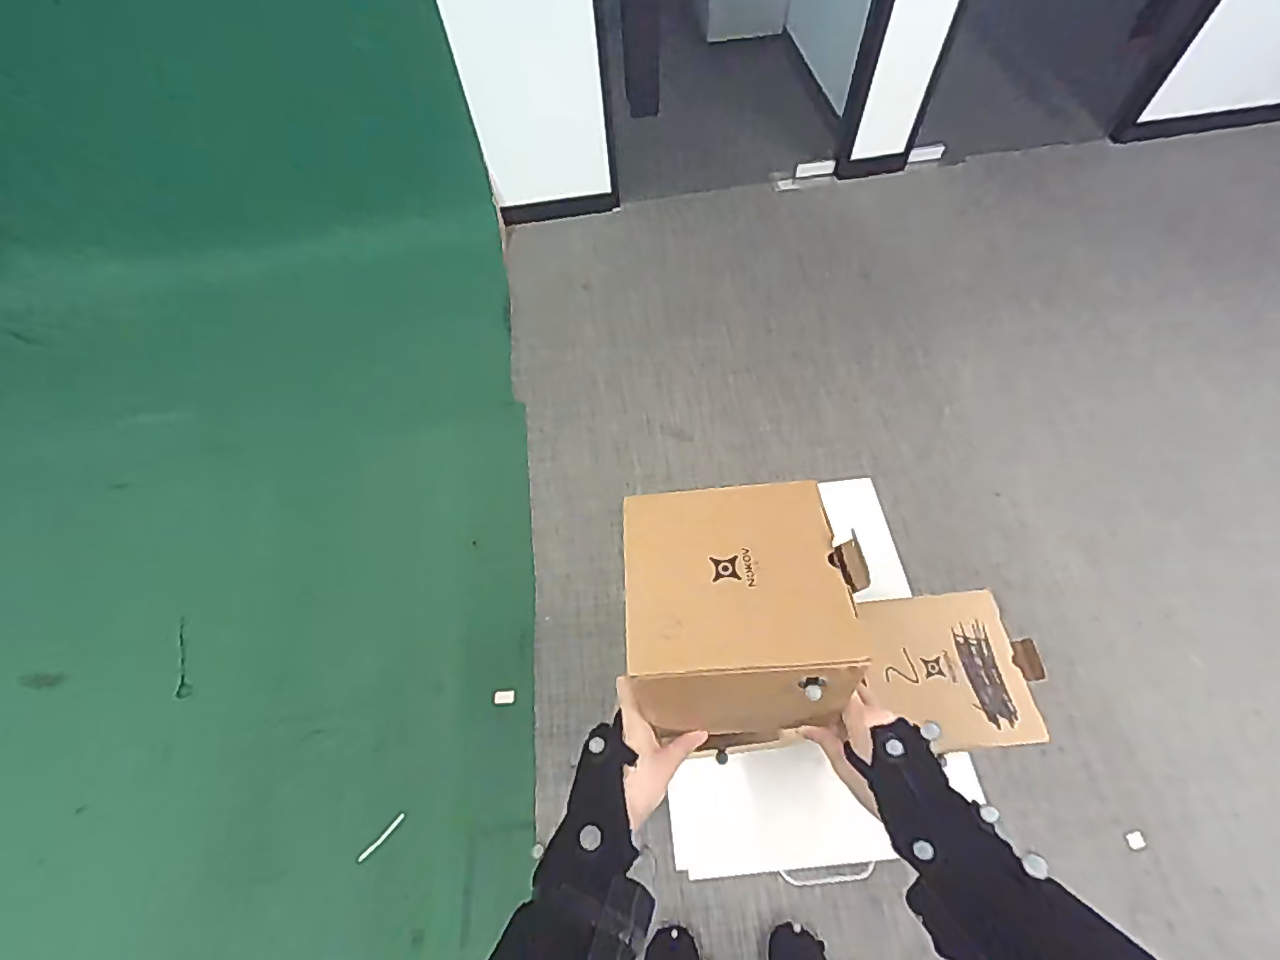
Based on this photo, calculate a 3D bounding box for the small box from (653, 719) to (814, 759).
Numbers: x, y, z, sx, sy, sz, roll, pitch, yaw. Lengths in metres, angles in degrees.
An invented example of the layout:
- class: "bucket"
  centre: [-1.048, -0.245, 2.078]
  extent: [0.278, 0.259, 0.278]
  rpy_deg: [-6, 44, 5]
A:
- class: "small box"
  centre: [0.099, 0.253, 0.689]
  extent: [0.179, 0.176, 0.168]
  rpy_deg: [-6, 60, -2]

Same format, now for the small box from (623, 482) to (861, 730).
- class: "small box"
  centre: [0.081, 0.122, 0.504]
  extent: [0.179, 0.176, 0.168]
  rpy_deg: [-5, 49, 3]
